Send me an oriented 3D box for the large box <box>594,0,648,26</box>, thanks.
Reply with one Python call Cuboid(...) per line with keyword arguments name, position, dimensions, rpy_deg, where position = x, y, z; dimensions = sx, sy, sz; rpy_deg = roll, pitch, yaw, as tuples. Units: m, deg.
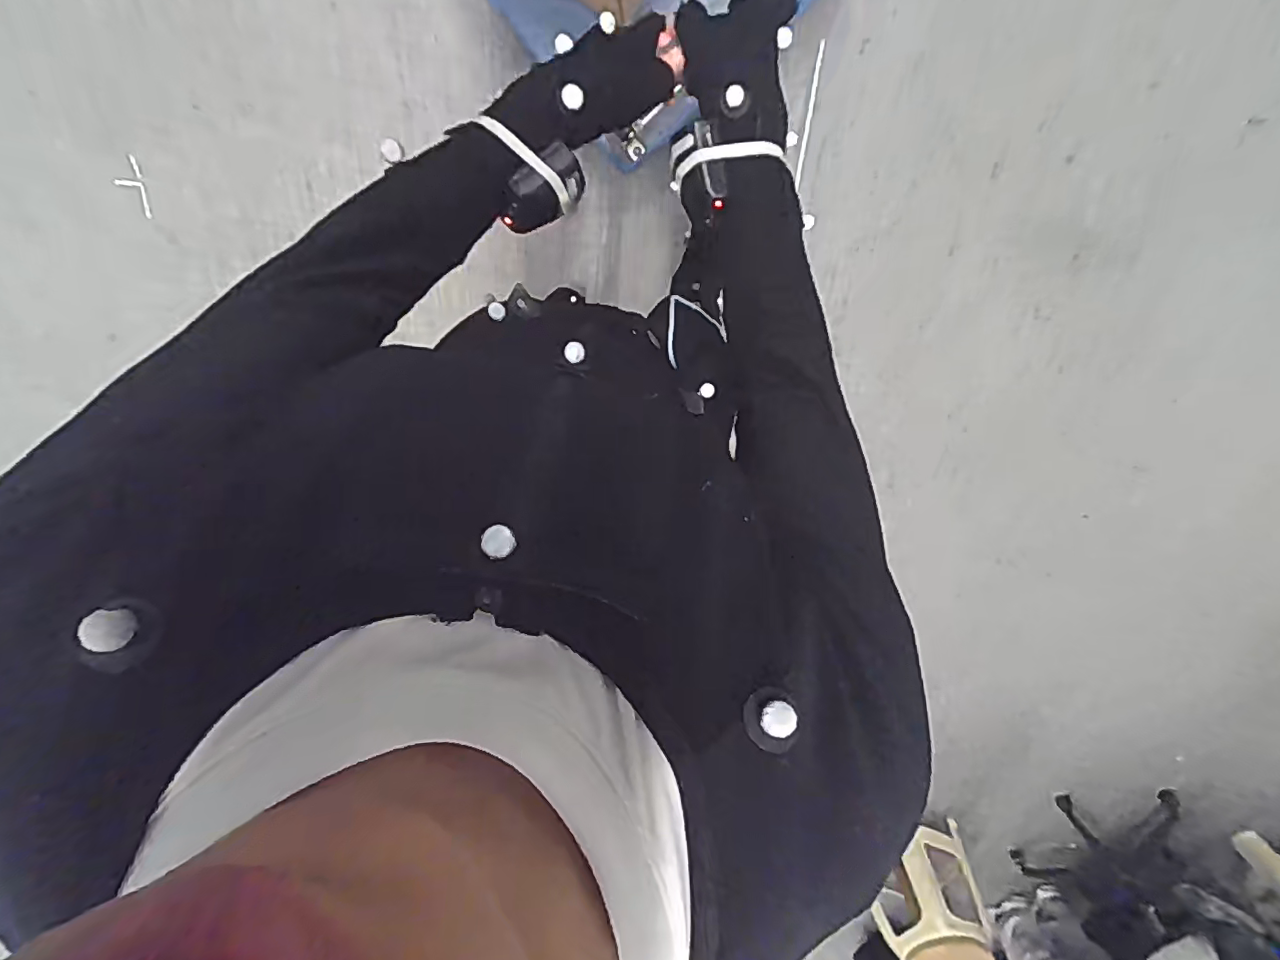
Cuboid(name="large box", position=(-0.045, -0.966, 0.733), dimensions=(0.320, 0.320, 0.408), rpy_deg=(28, 114, -11))
